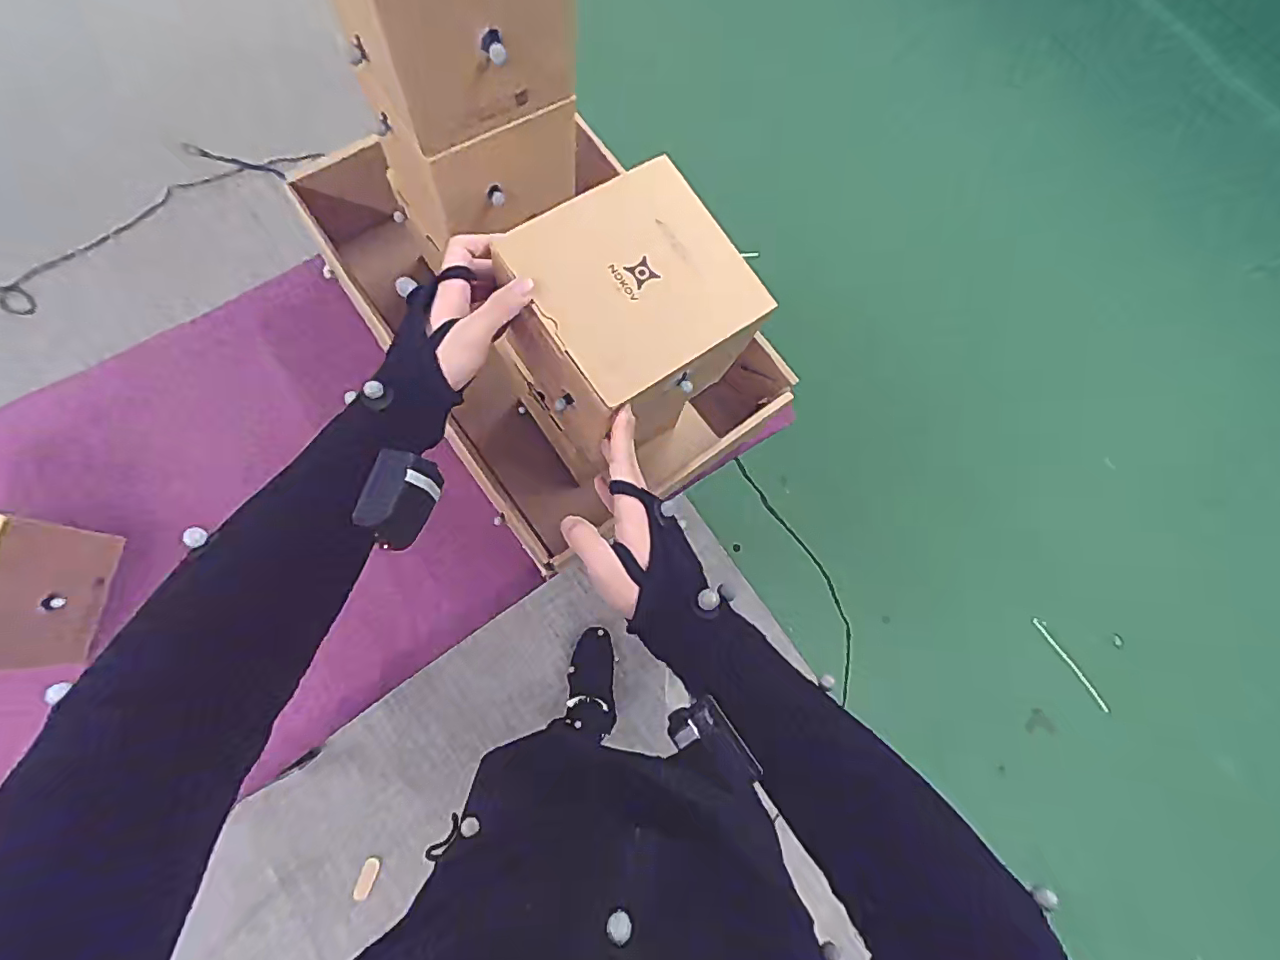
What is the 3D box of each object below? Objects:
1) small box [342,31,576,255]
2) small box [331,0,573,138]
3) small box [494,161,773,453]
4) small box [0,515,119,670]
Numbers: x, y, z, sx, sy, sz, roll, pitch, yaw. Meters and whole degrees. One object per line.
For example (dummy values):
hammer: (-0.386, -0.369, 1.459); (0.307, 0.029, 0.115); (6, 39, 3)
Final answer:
small box: (-0.184, -0.385, 0.605); (0.168, 0.176, 0.179); (-33, 82, -13)
small box: (-0.164, -0.425, 0.447); (0.168, 0.176, 0.179); (-32, 83, -13)
small box: (-0.013, -0.147, 0.514); (0.179, 0.176, 0.168); (-33, 86, -14)
small box: (-0.772, 0.123, 0.619); (0.179, 0.176, 0.168); (7, 74, -6)
